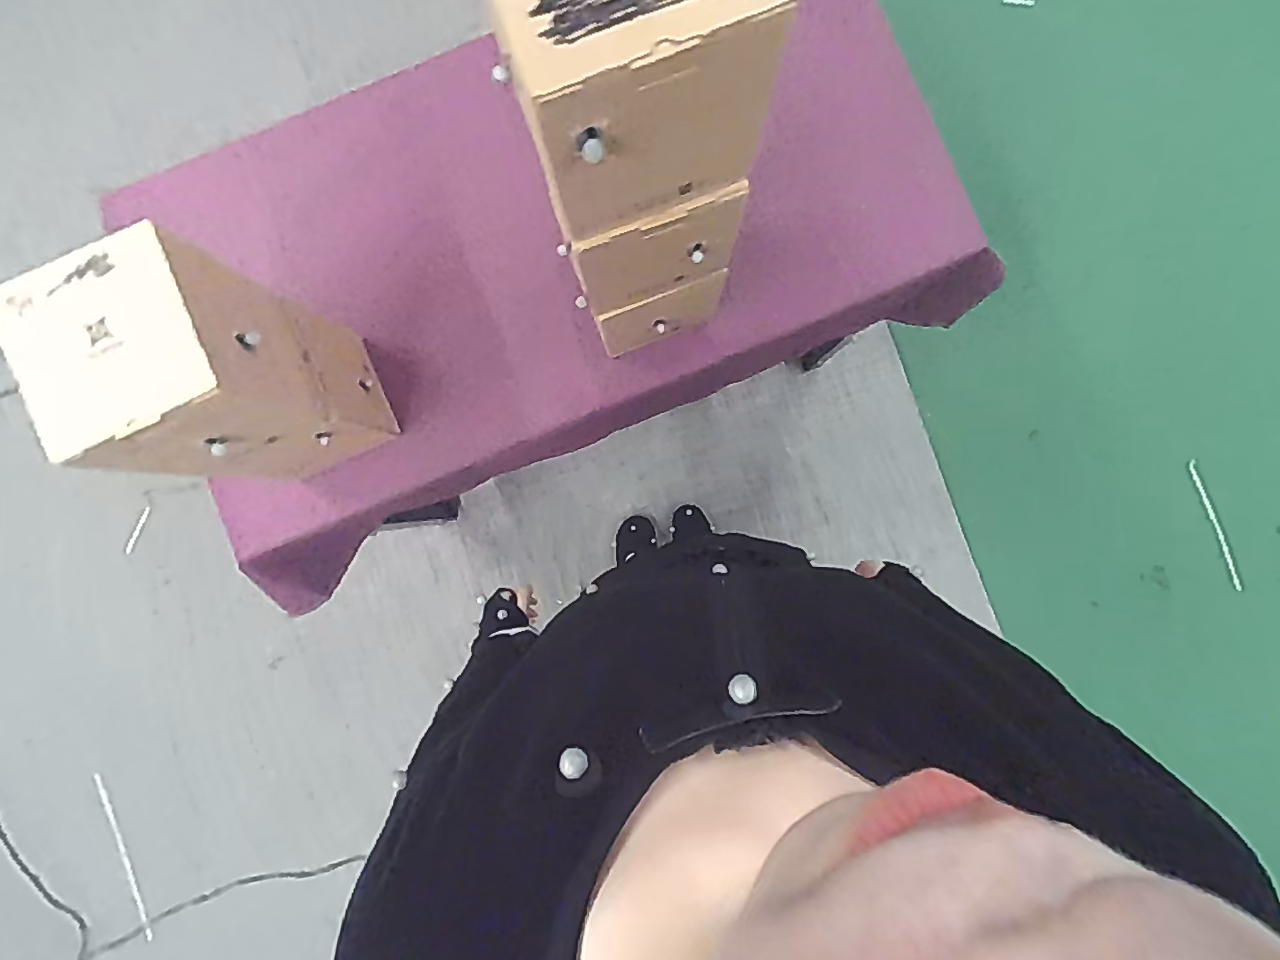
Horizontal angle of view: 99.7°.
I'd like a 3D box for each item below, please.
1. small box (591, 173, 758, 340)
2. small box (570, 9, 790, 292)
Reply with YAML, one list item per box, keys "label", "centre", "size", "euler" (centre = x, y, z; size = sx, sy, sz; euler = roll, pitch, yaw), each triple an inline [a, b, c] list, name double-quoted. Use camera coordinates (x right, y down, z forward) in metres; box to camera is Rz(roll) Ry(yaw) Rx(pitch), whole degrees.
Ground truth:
- label: "small box"
  centre: [0.043, -0.301, 0.719]
  size: [0.168, 0.176, 0.179]
  euler: [-16, 87, 1]
- label: "small box"
  centre: [0.038, -0.312, 0.556]
  size: [0.168, 0.176, 0.179]
  euler: [-14, 87, 1]
